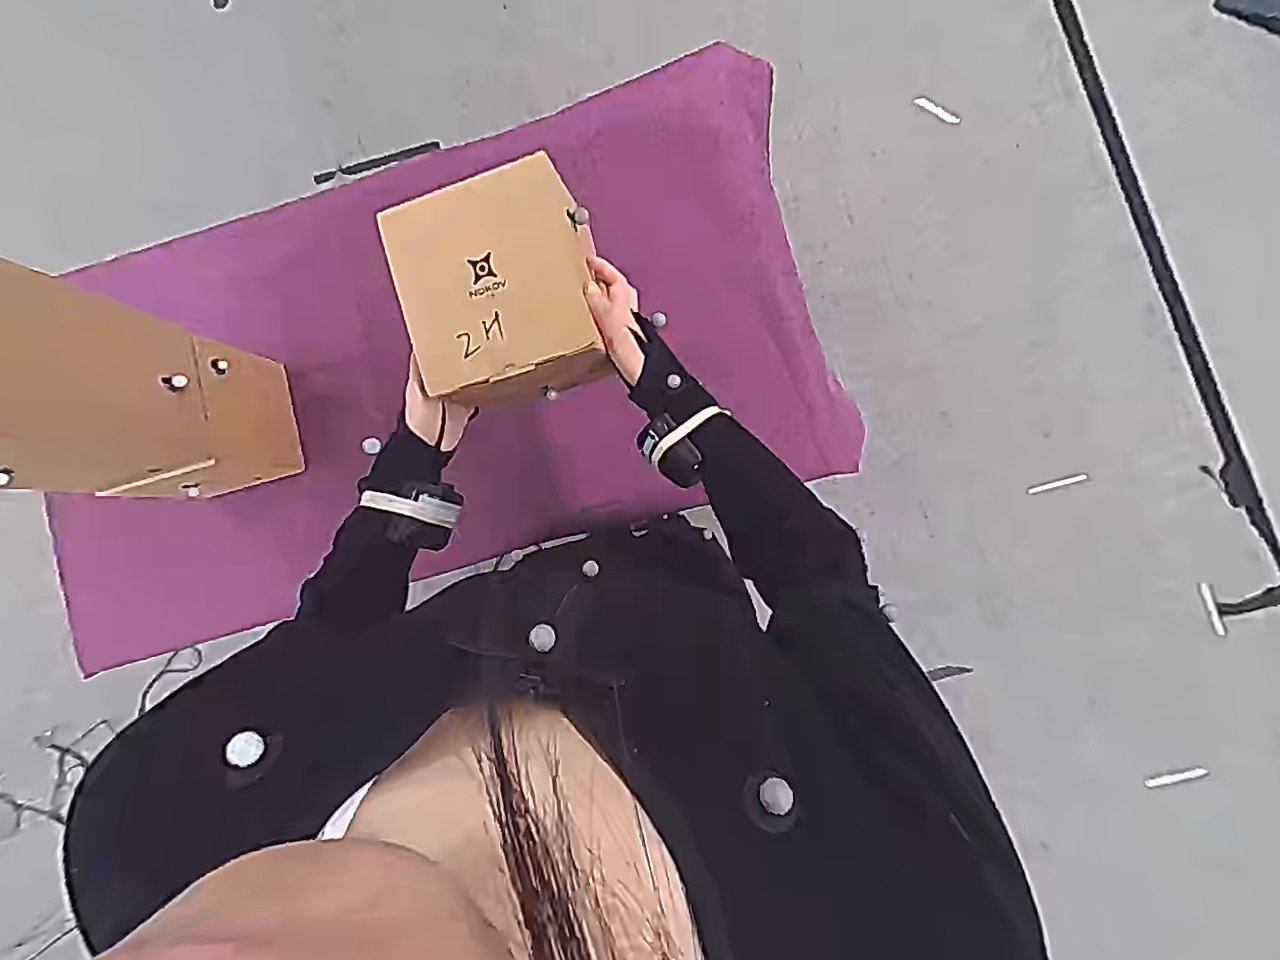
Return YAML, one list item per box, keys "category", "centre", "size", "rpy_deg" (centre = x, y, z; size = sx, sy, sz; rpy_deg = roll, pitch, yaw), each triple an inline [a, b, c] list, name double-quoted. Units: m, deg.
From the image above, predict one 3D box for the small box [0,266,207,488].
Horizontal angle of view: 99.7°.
- category: "small box"
  centre: [-0.629, -0.097, 0.591]
  size: [0.168, 0.176, 0.179]
  rpy_deg: [-15, 85, 3]

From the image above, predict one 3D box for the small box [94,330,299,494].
- category: "small box"
  centre: [-0.616, -0.082, 0.754]
  size: [0.168, 0.176, 0.179]
  rpy_deg: [-15, 86, 3]

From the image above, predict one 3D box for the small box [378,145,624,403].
- category: "small box"
  centre: [-0.124, -0.187, 0.549]
  size: [0.168, 0.176, 0.179]
  rpy_deg: [-15, 92, 9]
